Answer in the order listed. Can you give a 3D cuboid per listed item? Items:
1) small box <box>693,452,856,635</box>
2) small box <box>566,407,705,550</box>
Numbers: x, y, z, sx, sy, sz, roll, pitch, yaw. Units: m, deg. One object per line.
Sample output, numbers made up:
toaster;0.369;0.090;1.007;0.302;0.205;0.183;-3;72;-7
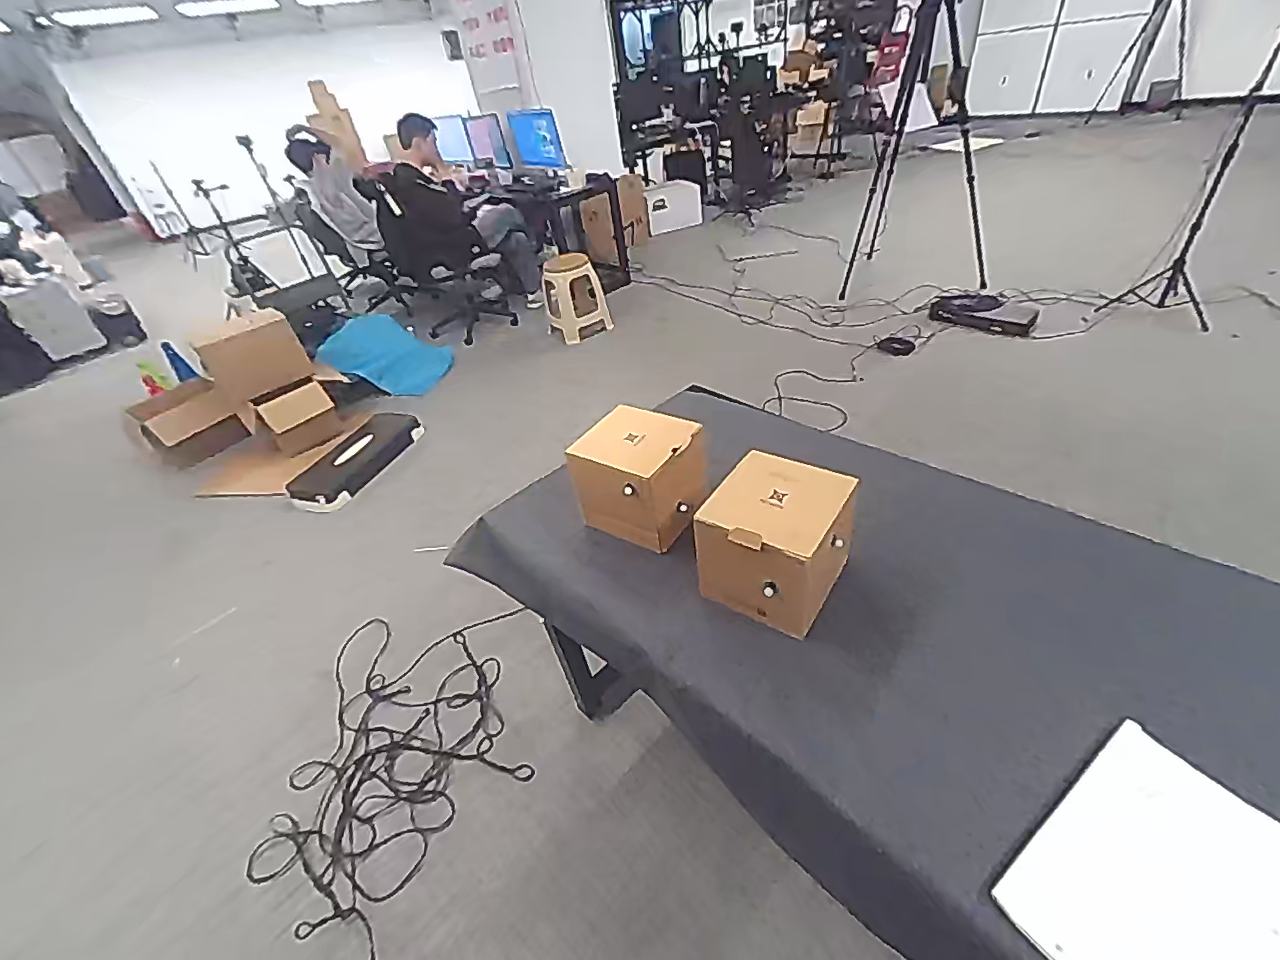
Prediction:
small box;0.196;0.090;0.787;0.168;0.176;0.179;20;45;31
small box;-0.001;-0.004;0.951;0.179;0.176;0.168;18;45;30
